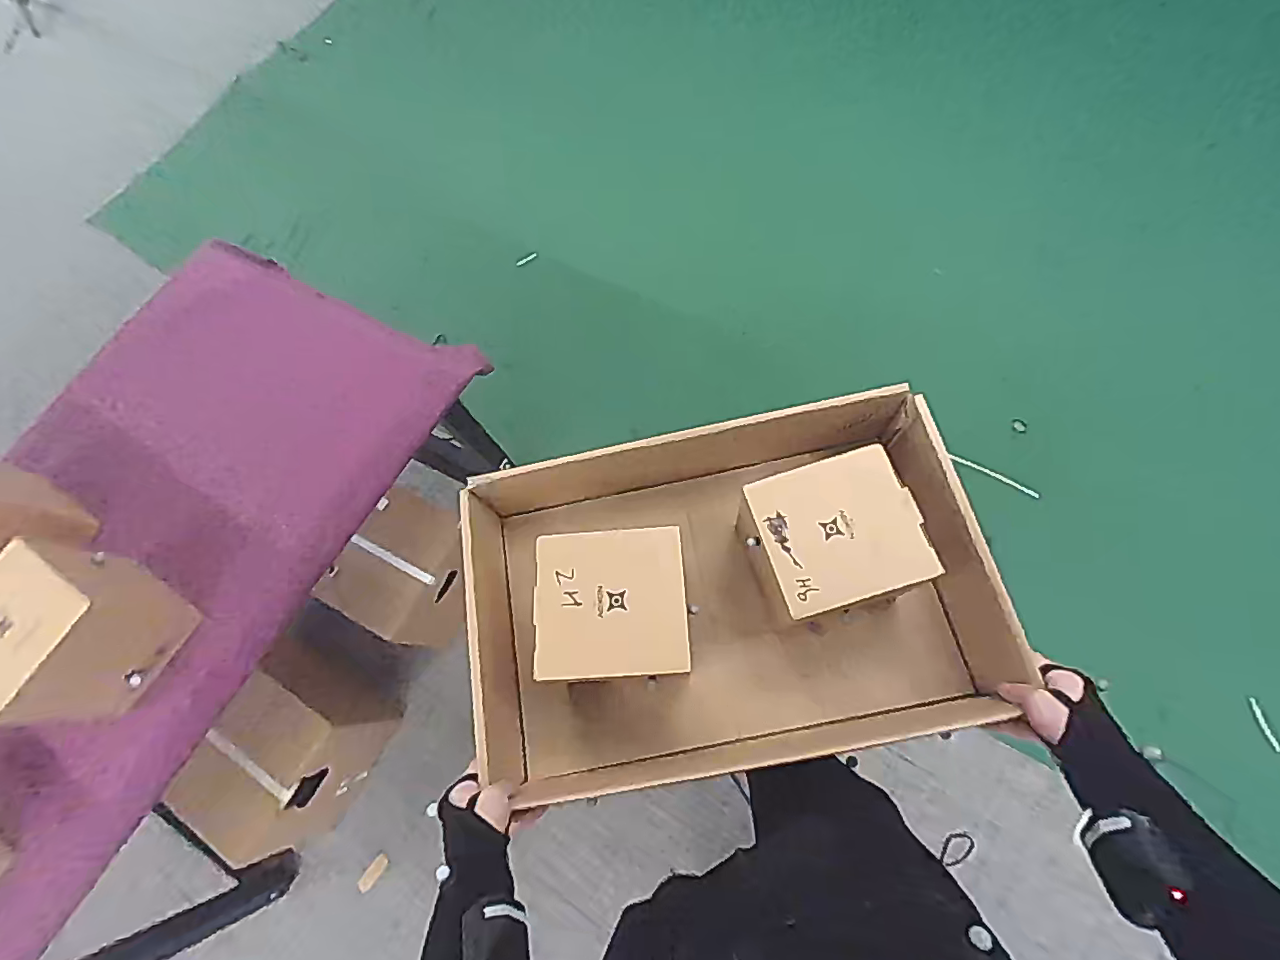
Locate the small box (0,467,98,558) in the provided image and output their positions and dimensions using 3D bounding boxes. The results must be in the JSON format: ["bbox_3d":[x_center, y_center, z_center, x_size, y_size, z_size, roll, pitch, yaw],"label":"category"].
[{"bbox_3d":[-1.007,0.077,0.817,0.179,0.176,0.168,29,75,14],"label":"small box"}]

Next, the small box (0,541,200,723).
[{"bbox_3d":[-0.778,0.211,0.742,0.179,0.176,0.168,29,77,16],"label":"small box"}]

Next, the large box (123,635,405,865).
[{"bbox_3d":[-0.878,0.621,1.313,0.408,0.320,0.320,27,75,16],"label":"large box"}]
